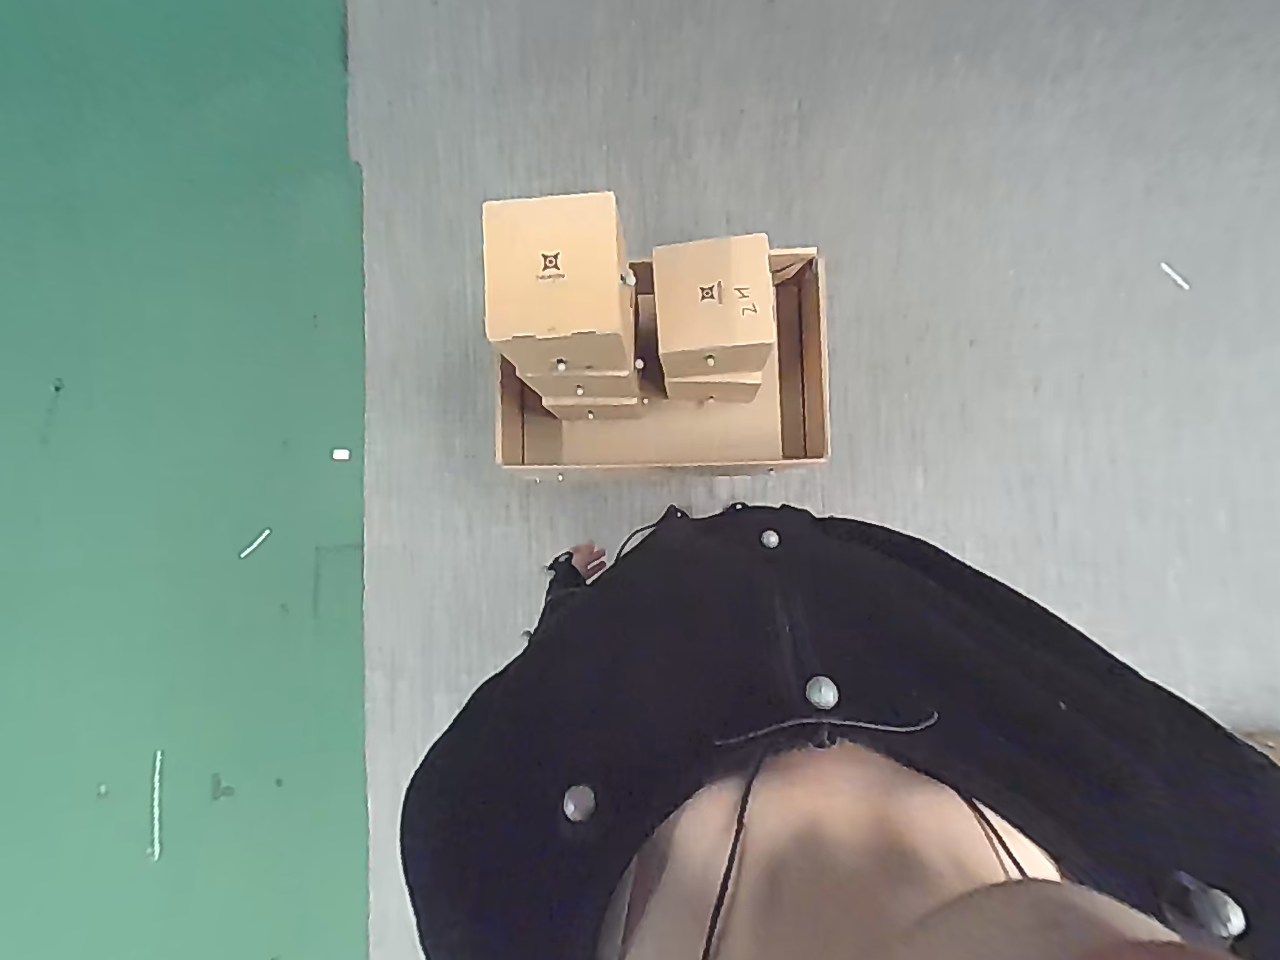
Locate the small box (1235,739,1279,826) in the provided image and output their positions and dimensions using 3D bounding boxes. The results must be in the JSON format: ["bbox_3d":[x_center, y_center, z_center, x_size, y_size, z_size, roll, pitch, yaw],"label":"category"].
[{"bbox_3d":[1.563,0.724,1.264,0.168,0.176,0.179,-3,86,6],"label":"small box"}]

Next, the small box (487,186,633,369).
[{"bbox_3d":[-0.099,-0.260,0.728,0.168,0.176,0.179,-3,87,4],"label":"small box"}]
